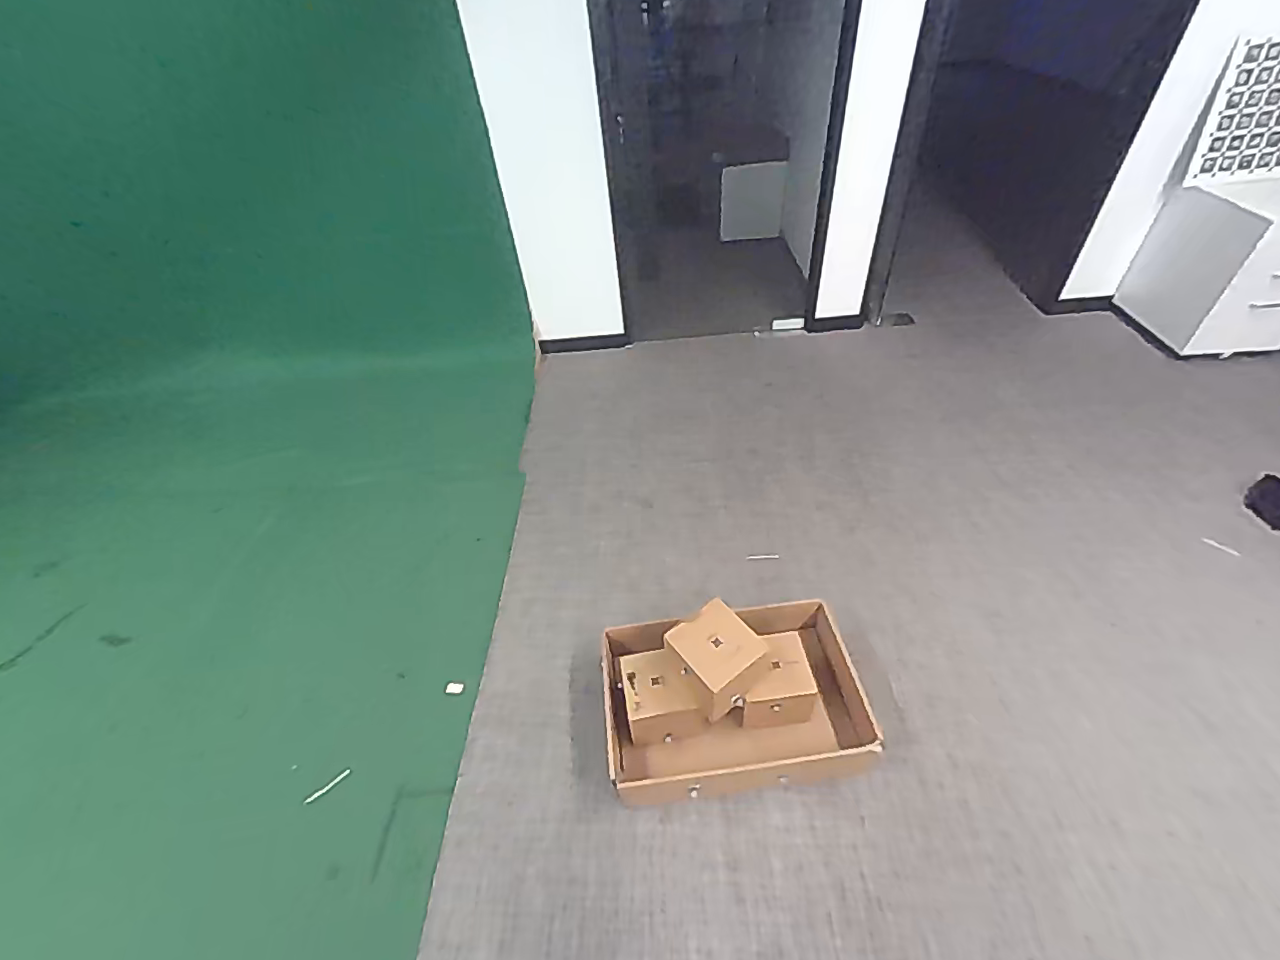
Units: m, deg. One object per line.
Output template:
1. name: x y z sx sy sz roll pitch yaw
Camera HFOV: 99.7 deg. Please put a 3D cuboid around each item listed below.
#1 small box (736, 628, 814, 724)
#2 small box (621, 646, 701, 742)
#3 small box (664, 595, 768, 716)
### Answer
1. small box: 0.329 0.505 1.384 0.179 0.176 0.168 -7 44 0
2. small box: 0.050 0.543 1.377 0.179 0.176 0.168 -8 43 -5
3. small box: 0.173 0.413 1.267 0.168 0.176 0.179 -30 50 -22
